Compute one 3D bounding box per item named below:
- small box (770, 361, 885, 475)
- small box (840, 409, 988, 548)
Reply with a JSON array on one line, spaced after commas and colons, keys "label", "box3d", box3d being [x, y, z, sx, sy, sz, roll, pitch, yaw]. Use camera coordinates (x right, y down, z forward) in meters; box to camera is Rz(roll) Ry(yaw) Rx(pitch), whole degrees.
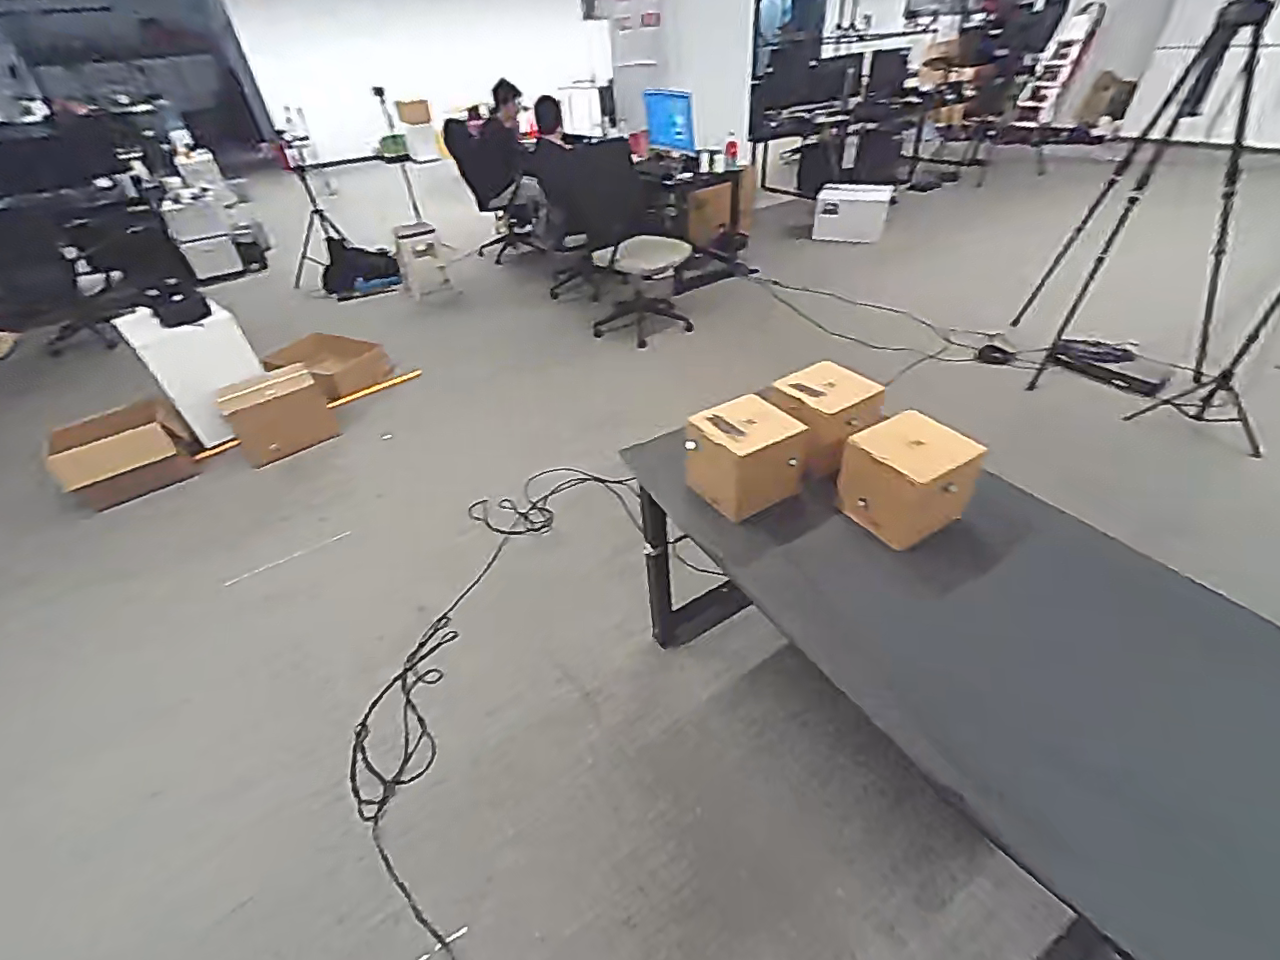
[{"label": "small box", "box3d": [0.407, -0.138, 1.203, 0.179, 0.176, 0.168, -24, 44, -23]}, {"label": "small box", "box3d": [0.509, -0.004, 1.032, 0.179, 0.176, 0.168, -23, 43, -20]}]
